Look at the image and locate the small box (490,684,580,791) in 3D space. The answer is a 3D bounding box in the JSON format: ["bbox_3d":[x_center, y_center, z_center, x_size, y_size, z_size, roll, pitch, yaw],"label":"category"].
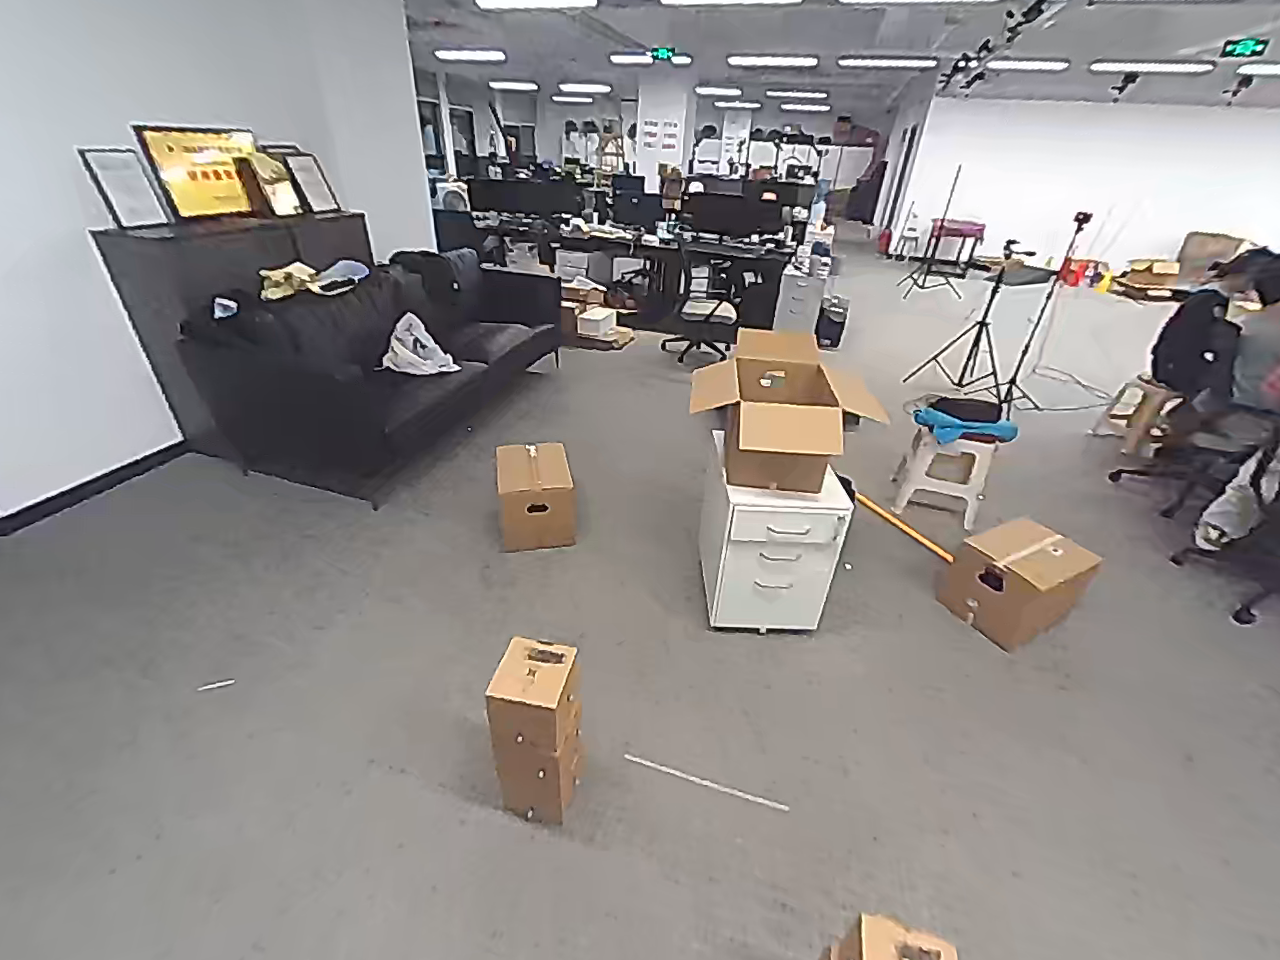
[{"bbox_3d":[-0.257,0.658,1.380,0.179,0.176,0.168,8,31,11],"label":"small box"}]

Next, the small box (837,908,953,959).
[{"bbox_3d":[0.458,0.934,0.975,0.168,0.176,0.179,10,34,13],"label":"small box"}]

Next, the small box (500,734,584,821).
[{"bbox_3d":[-0.261,0.792,1.474,0.179,0.176,0.168,11,32,12],"label":"small box"}]

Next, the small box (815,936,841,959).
[{"bbox_3d":[0.437,1.066,1.071,0.168,0.176,0.179,11,33,12],"label":"small box"}]
